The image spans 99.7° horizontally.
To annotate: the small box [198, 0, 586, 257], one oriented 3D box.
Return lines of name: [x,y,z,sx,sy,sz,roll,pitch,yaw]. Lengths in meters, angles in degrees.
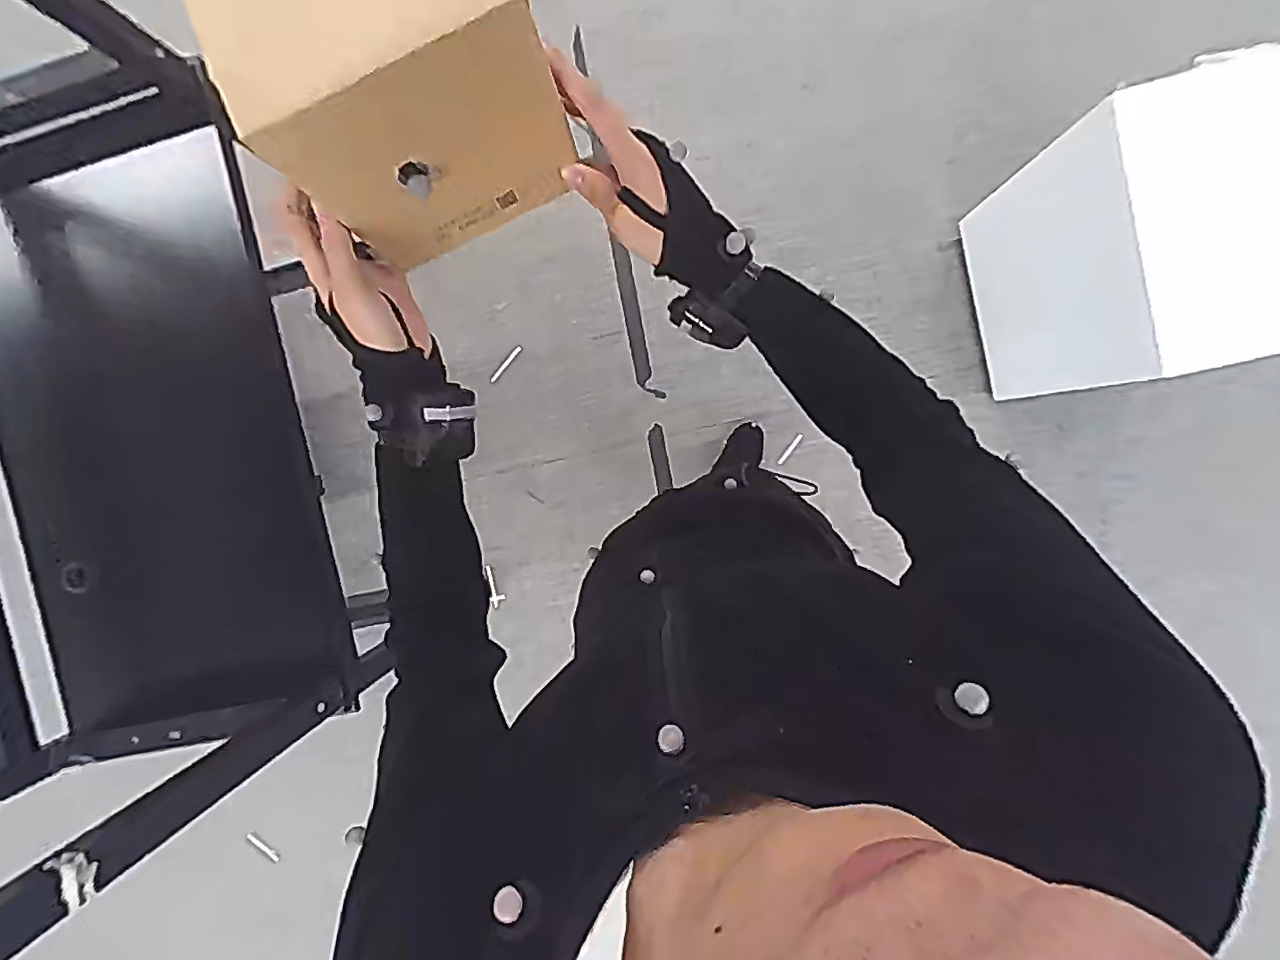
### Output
small box: [-0.151,-0.279,0.363,0.168,0.176,0.179,-24,85,3]
